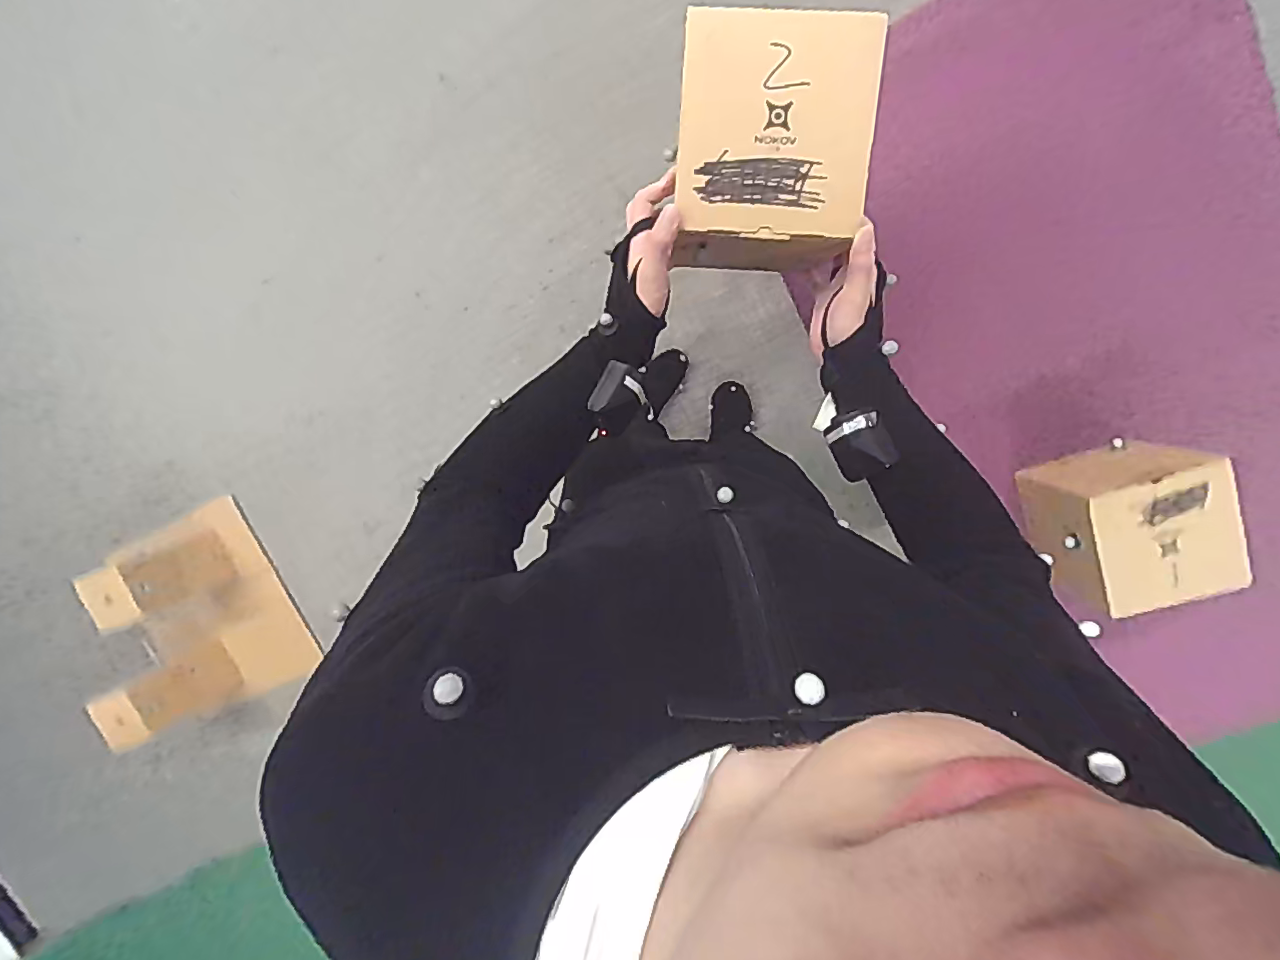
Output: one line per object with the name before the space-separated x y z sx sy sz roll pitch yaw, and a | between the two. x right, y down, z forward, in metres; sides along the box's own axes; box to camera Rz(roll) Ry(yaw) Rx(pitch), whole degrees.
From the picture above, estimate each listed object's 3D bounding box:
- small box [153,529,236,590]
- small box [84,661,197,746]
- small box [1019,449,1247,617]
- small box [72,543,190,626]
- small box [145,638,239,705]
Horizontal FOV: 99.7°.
small box | -1.513 0.276 1.802 0.168 0.176 0.179 -20 99 11
small box | -1.590 0.704 1.732 0.168 0.176 0.179 -22 99 10
small box | 0.676 0.063 0.764 0.168 0.176 0.179 -17 100 10
small box | -1.534 0.313 1.643 0.168 0.176 0.179 -18 100 10
small box | -1.569 0.676 1.890 0.168 0.176 0.179 -21 99 11
